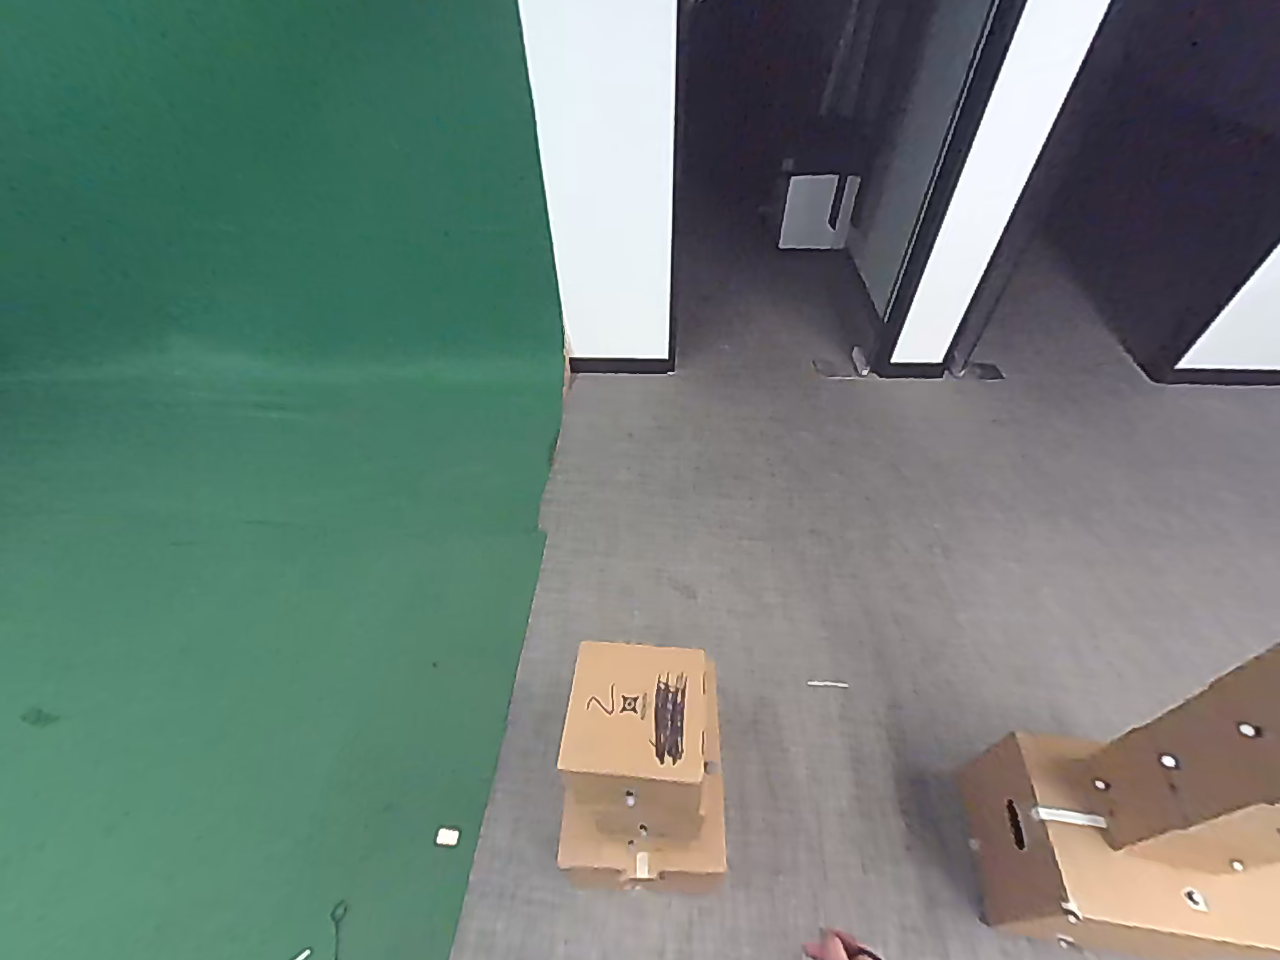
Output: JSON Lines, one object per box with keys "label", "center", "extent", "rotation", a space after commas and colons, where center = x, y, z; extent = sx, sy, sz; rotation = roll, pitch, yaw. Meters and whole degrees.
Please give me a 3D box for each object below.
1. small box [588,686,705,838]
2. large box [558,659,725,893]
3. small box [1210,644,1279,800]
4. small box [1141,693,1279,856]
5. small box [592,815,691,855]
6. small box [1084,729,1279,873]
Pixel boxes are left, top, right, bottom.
{"label": "small box", "center": [0.017, 0.454, 0.865], "extent": [0.168, 0.176, 0.179], "rotation": [3, 46, 4]}
{"label": "large box", "center": [0.010, 0.666, 1.225], "extent": [0.320, 0.320, 0.408], "rotation": [1, 46, 2]}
{"label": "small box", "center": [0.949, 0.342, 0.723], "extent": [0.168, 0.176, 0.179], "rotation": [9, 46, 9]}
{"label": "small box", "center": [0.952, 0.460, 0.838], "extent": [0.179, 0.176, 0.168], "rotation": [9, 46, 10]}
{"label": "small box", "center": [0.013, 0.565, 0.987], "extent": [0.168, 0.176, 0.179], "rotation": [2, 46, 4]}
{"label": "small box", "center": [0.952, 0.572, 0.958], "extent": [0.179, 0.176, 0.168], "rotation": [8, 46, 9]}
